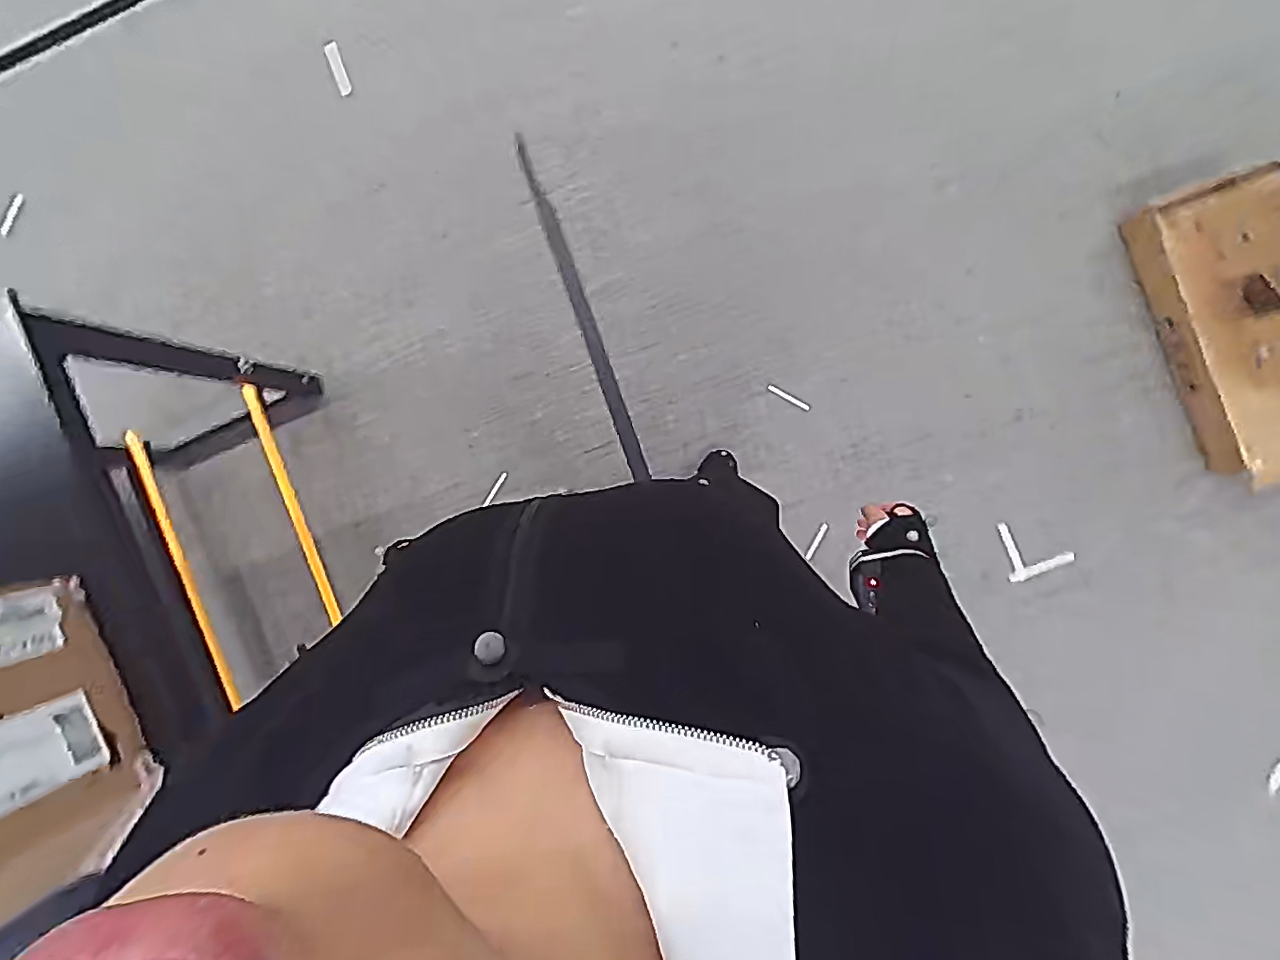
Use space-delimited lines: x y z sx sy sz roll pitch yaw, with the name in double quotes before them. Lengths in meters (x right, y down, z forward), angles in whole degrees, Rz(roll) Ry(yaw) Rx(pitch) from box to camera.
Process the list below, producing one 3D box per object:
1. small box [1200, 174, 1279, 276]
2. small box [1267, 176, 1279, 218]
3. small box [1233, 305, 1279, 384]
"small box" 1.406 -0.576 1.193 0.179 0.176 0.168 -20 92 5
"small box" 1.394 -0.573 1.029 0.179 0.176 0.168 -26 90 5
"small box" 1.501 -0.325 1.197 0.179 0.176 0.168 -17 90 4
